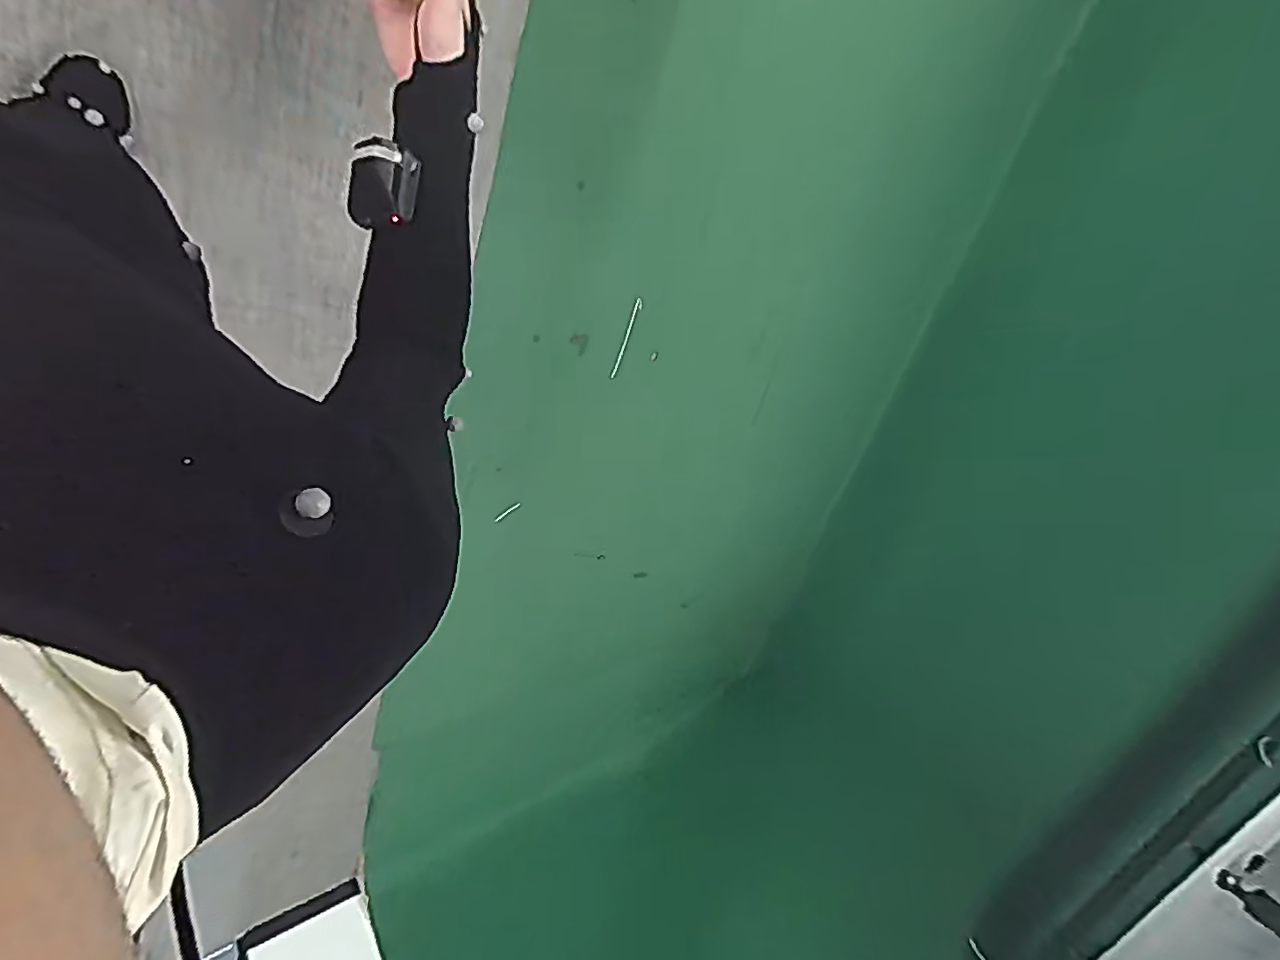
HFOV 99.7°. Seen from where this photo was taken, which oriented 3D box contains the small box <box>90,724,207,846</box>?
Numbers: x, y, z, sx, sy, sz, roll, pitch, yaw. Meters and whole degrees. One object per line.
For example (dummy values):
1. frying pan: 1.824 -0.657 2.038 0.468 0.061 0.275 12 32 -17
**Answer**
1. small box: -1.170 0.711 1.285 0.179 0.176 0.168 12 110 -49
